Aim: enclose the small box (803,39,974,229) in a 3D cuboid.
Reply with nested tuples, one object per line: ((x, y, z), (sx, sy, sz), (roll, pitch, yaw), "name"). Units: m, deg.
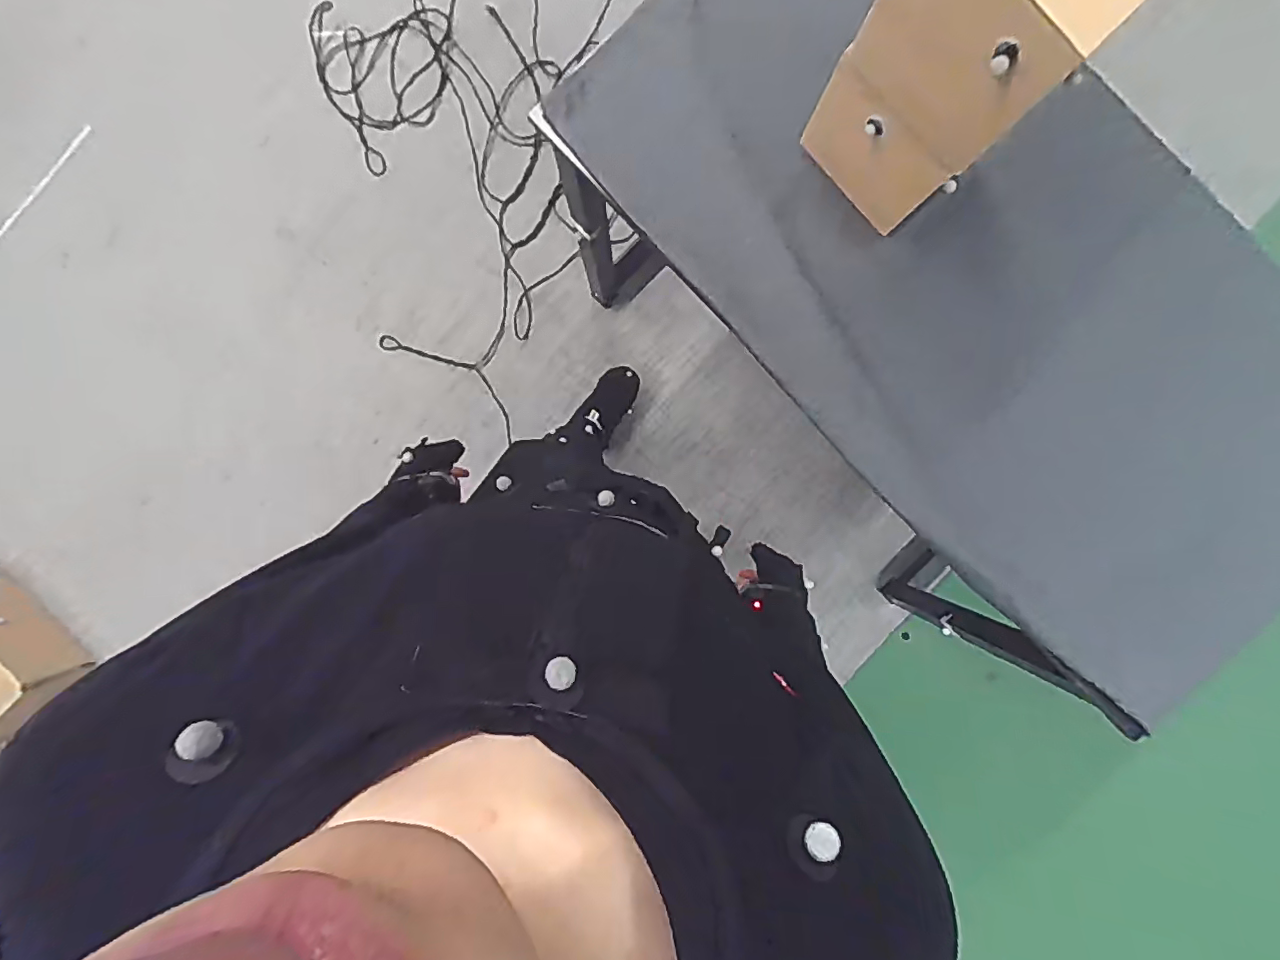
((0.334, -0.456, 0.671), (0.168, 0.176, 0.179), (-43, 91, -1), "small box")

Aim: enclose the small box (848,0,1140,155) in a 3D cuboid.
((0.337, -0.448, 0.505), (0.168, 0.176, 0.179), (-44, 91, -1), "small box")
